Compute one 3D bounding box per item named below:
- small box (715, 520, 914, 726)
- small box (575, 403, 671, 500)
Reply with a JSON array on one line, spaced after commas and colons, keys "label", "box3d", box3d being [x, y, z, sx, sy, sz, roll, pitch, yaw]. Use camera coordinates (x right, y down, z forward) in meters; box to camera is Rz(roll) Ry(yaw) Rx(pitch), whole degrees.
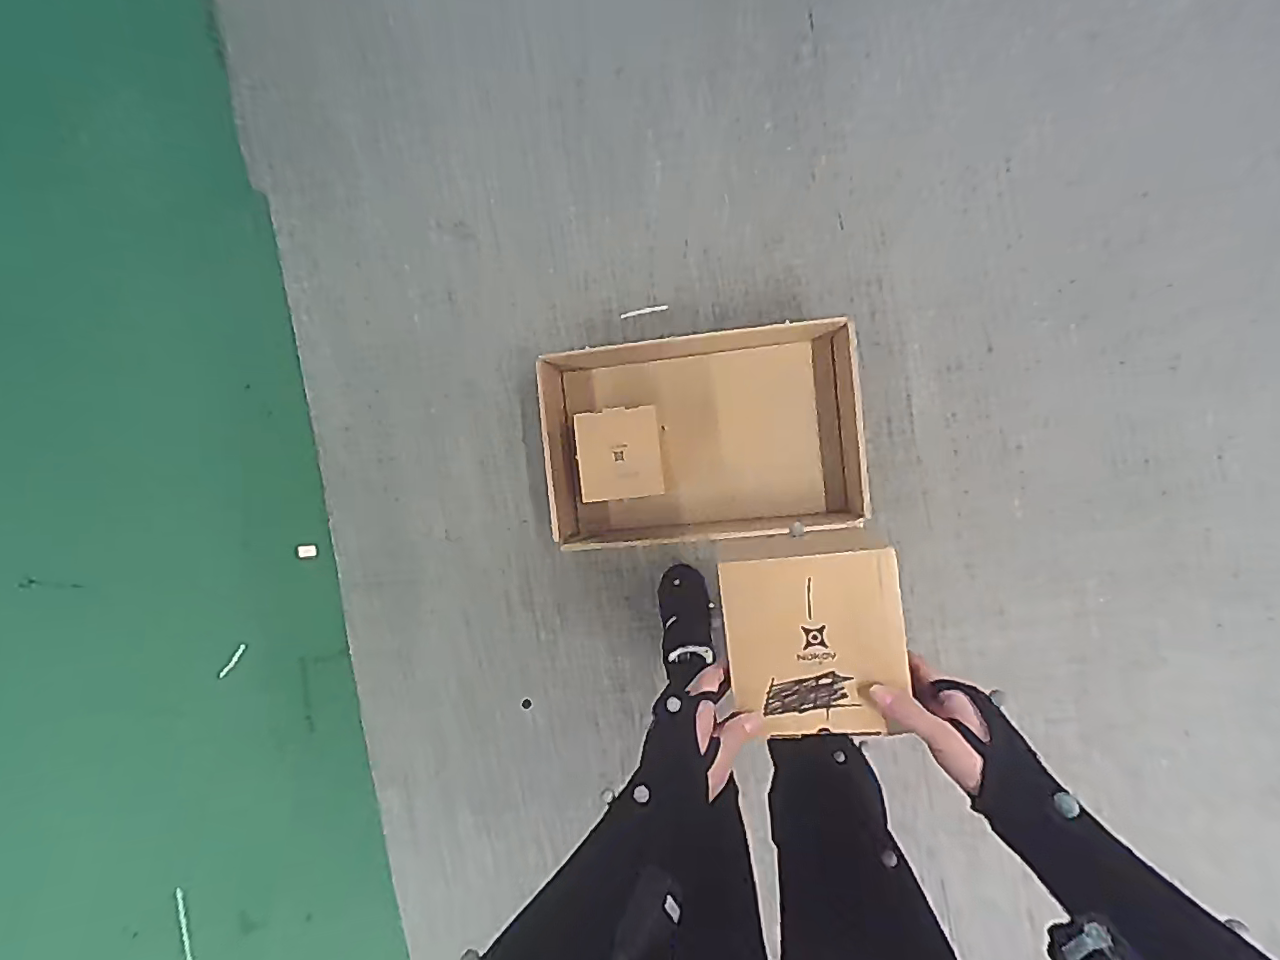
[{"label": "small box", "box3d": [0.178, 0.143, 0.589, 0.168, 0.176, 0.179, -8, 89, 10]}, {"label": "small box", "box3d": [-0.029, -0.056, 1.117, 0.168, 0.176, 0.179, -6, 92, 9]}]
